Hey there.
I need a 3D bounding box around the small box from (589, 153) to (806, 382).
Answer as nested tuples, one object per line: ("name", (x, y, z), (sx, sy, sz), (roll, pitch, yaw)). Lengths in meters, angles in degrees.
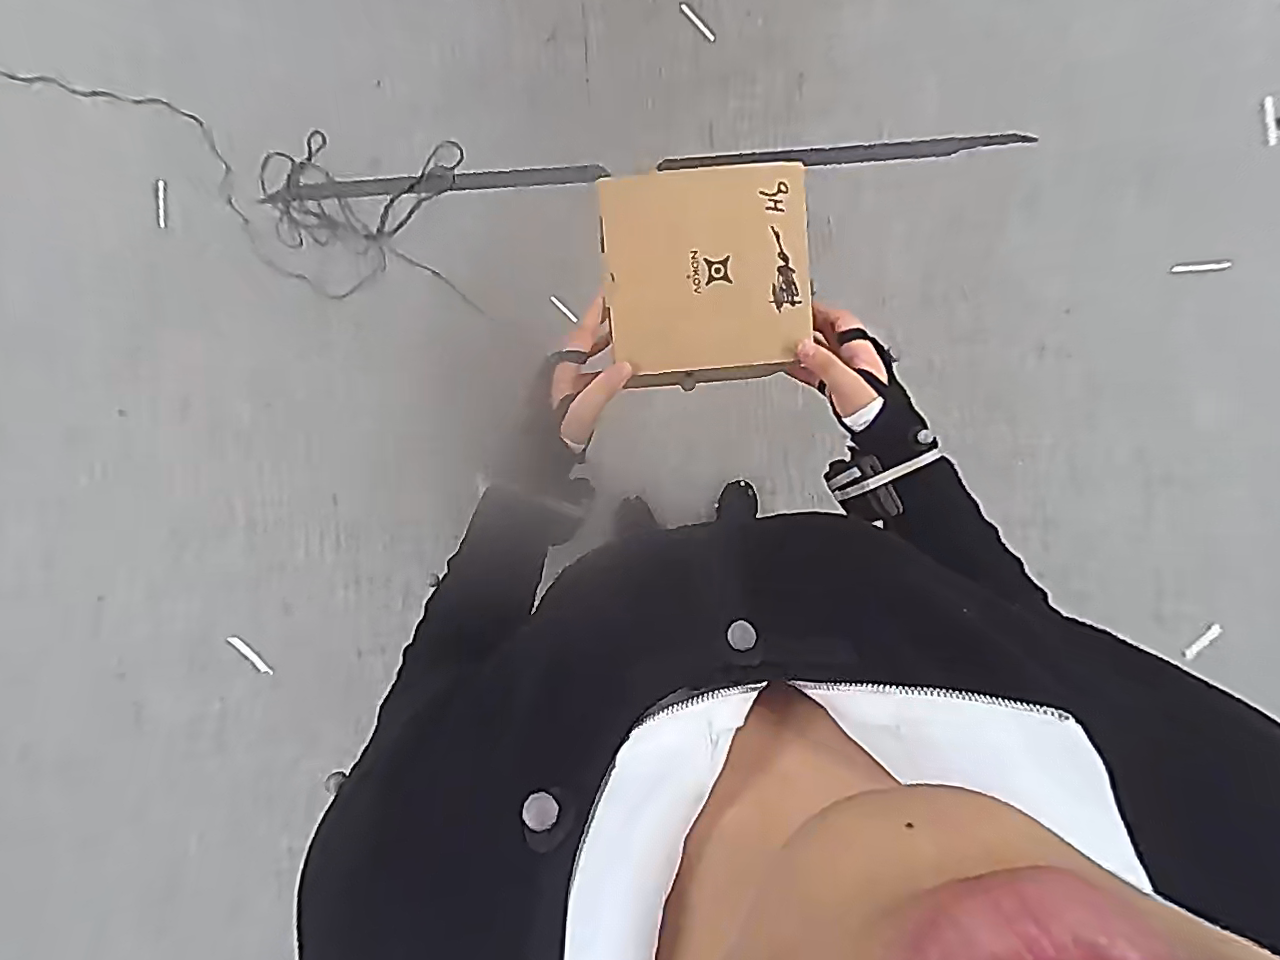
("small box", (0.050, -0.193, 0.539), (0.179, 0.176, 0.168), (-5, 95, 0))
